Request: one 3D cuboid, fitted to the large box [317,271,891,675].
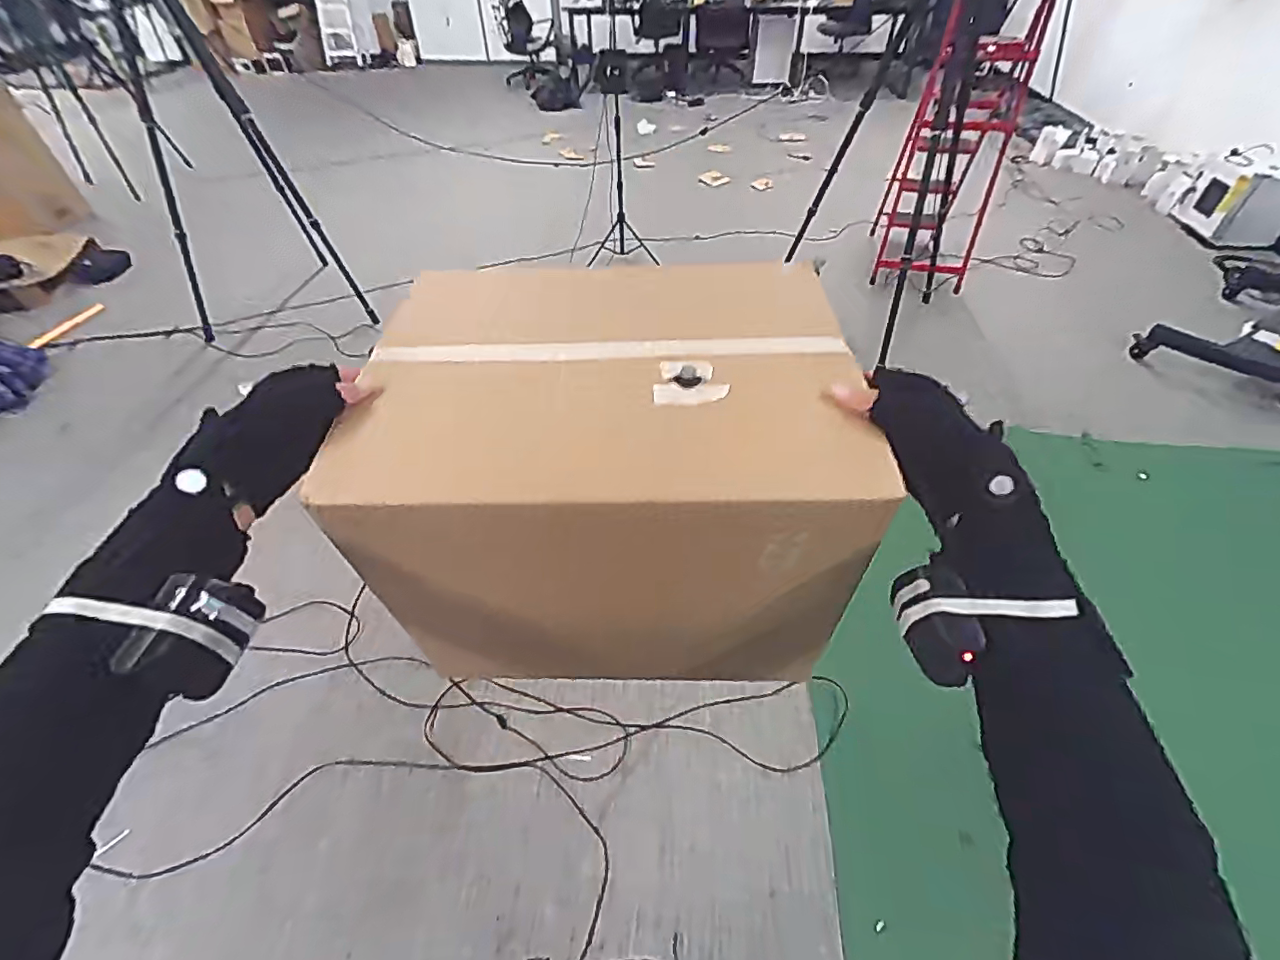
[{"bbox_3d":[-0.024,-0.002,0.576,0.408,0.320,0.320,0,50,1],"label":"large box"}]
